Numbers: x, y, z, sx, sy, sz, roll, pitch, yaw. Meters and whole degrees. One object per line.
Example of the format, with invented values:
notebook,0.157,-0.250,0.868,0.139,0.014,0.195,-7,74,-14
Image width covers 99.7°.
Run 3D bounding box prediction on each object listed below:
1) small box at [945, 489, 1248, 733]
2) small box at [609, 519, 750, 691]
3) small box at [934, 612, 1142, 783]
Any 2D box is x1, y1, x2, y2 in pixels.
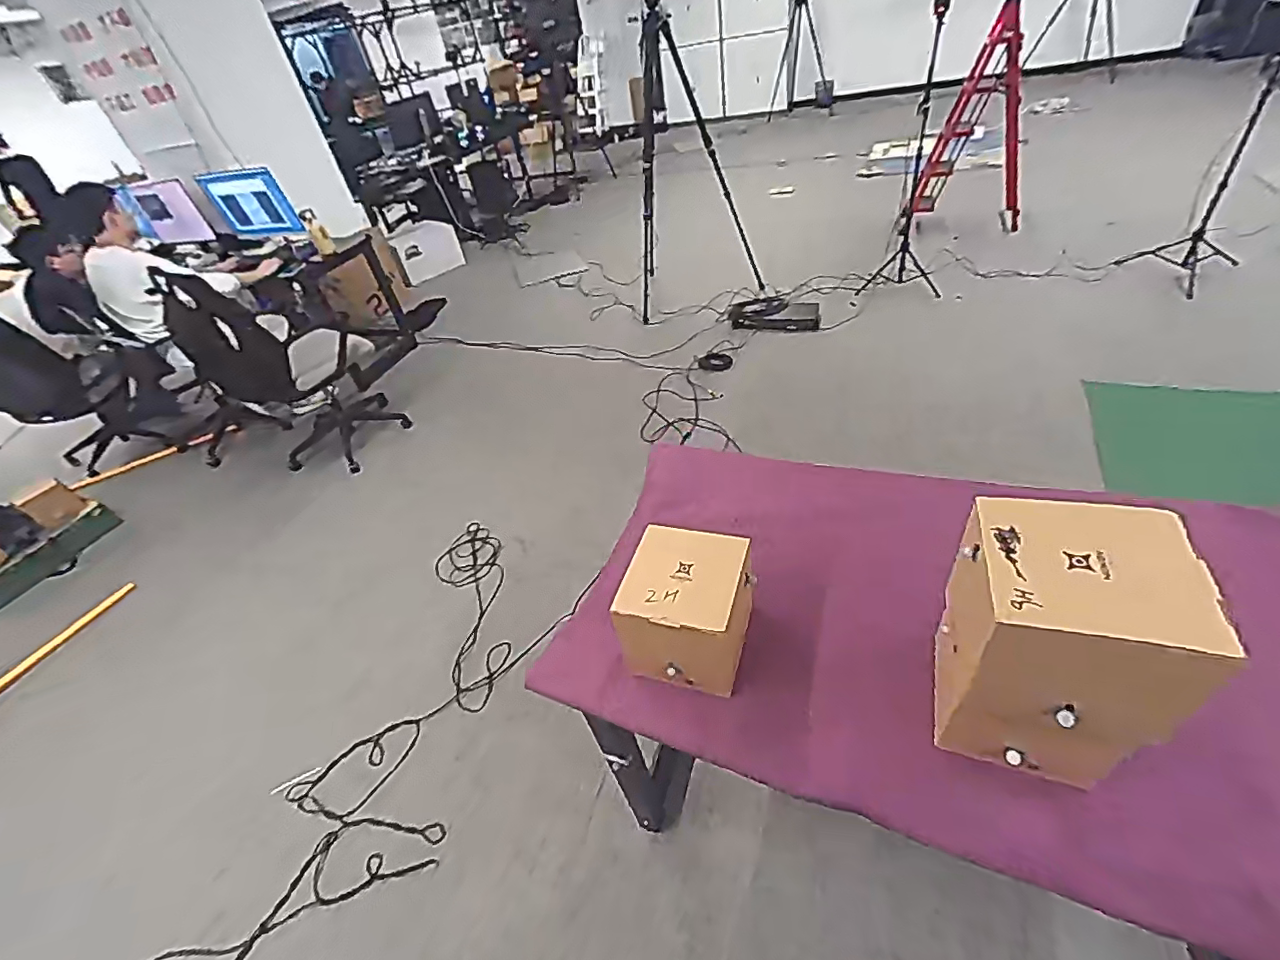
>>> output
small box,0.431,0.133,0.553,0.179,0.176,0.168,6,44,20
small box,0.070,0.187,0.828,0.168,0.176,0.179,6,43,21
small box,0.475,0.237,0.675,0.168,0.176,0.179,8,45,23
